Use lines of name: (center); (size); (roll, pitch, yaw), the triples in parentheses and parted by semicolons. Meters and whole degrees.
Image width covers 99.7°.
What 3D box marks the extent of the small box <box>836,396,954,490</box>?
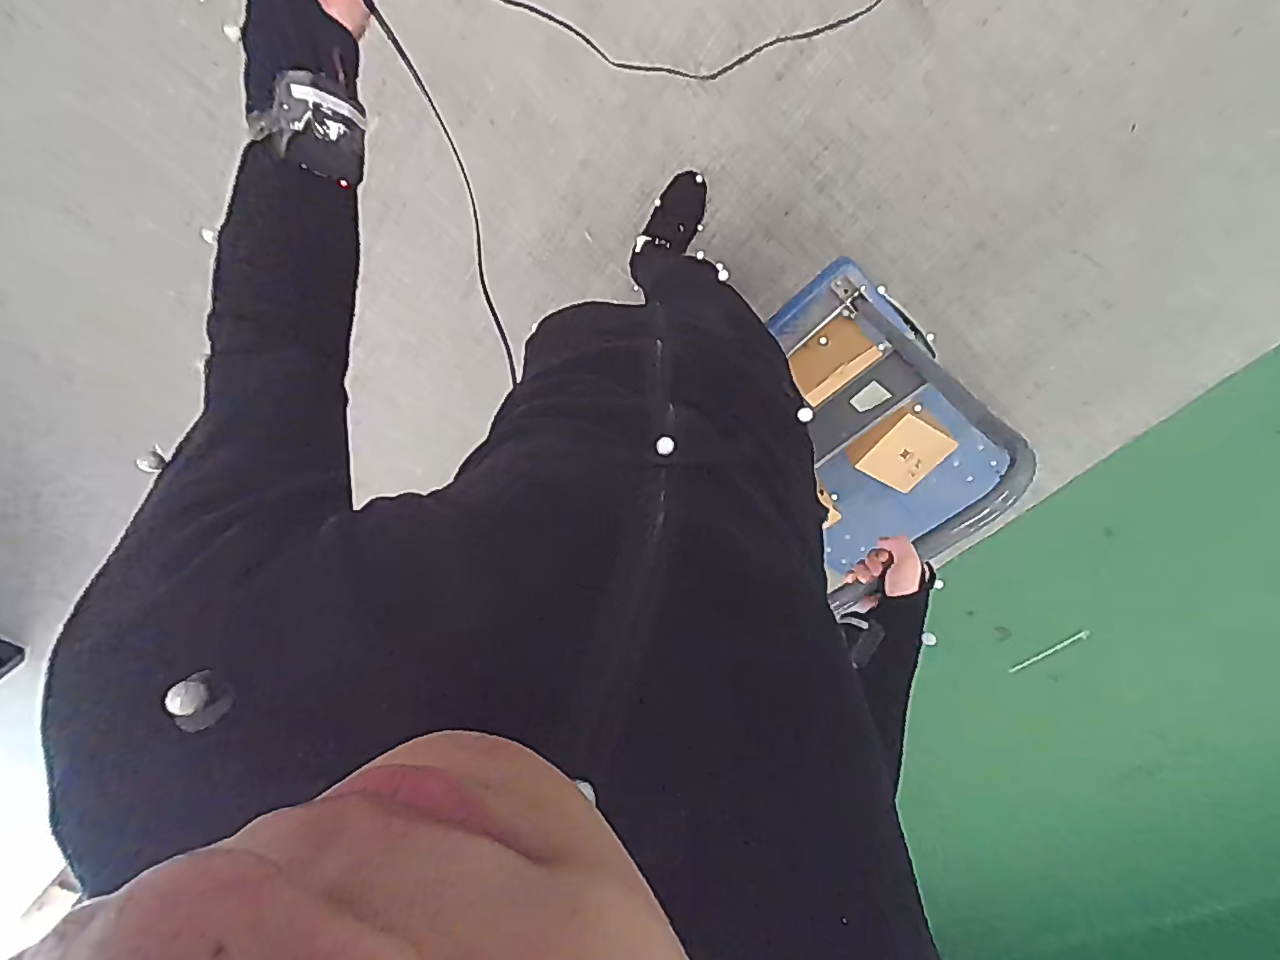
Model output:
small box: (0.584, -0.111, 1.280); (0.179, 0.176, 0.168); (24, 123, -22)

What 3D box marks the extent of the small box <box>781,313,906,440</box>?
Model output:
small box: (0.436, -0.228, 1.177); (0.168, 0.176, 0.179); (-37, 122, 23)
